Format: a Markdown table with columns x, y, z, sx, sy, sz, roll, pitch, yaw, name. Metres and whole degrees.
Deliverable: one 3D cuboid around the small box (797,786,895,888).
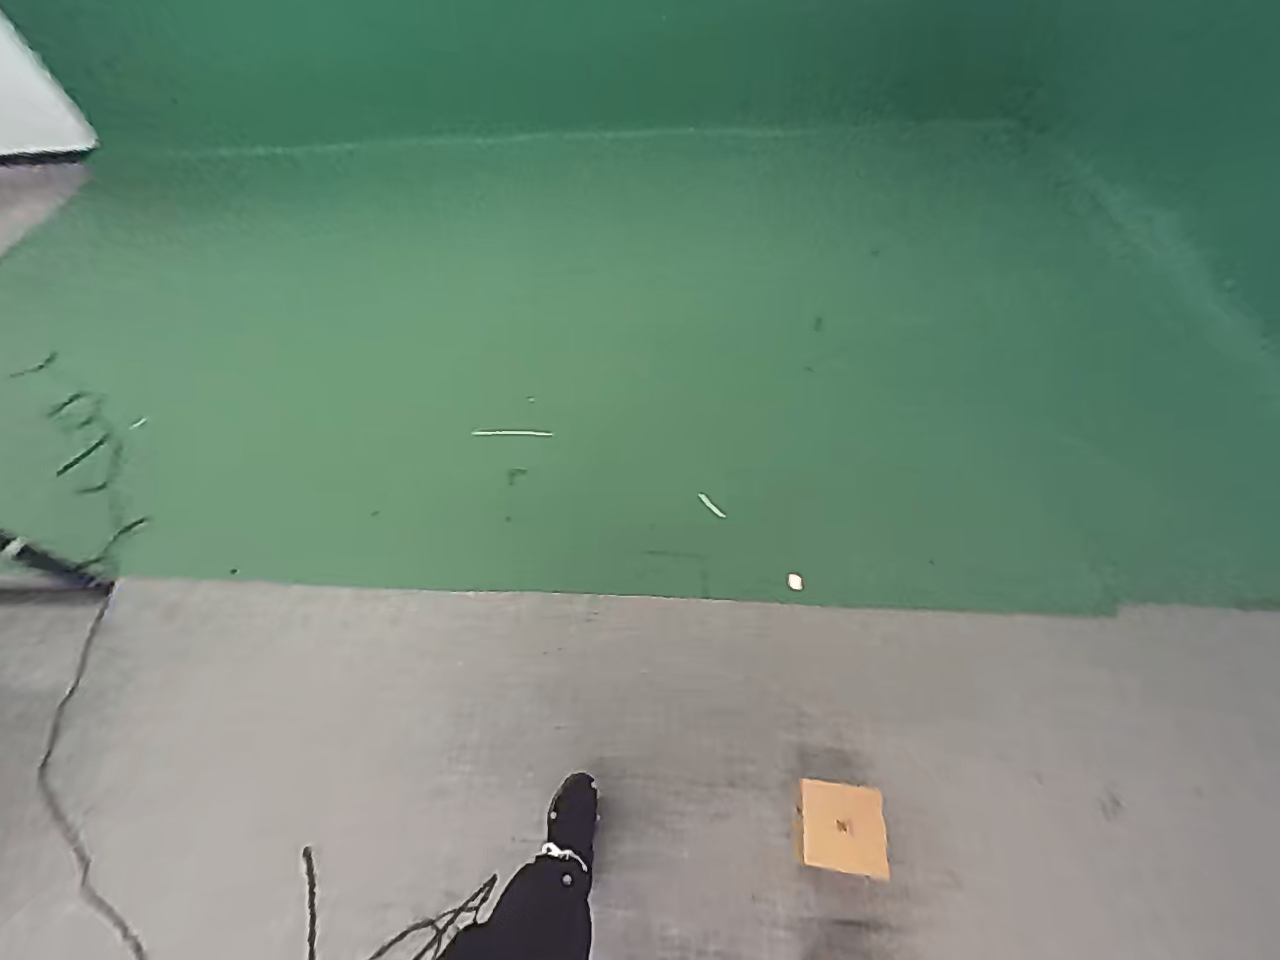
| x | y | z | sx | sy | sz | roll | pitch | yaw | name |
| --- | --- | --- | --- | --- | --- | --- | --- | --- | --- |
| 0.458 | 0.815 | 1.233 | 0.179 | 0.176 | 0.168 | 5 | 55 | 7 | small box |
